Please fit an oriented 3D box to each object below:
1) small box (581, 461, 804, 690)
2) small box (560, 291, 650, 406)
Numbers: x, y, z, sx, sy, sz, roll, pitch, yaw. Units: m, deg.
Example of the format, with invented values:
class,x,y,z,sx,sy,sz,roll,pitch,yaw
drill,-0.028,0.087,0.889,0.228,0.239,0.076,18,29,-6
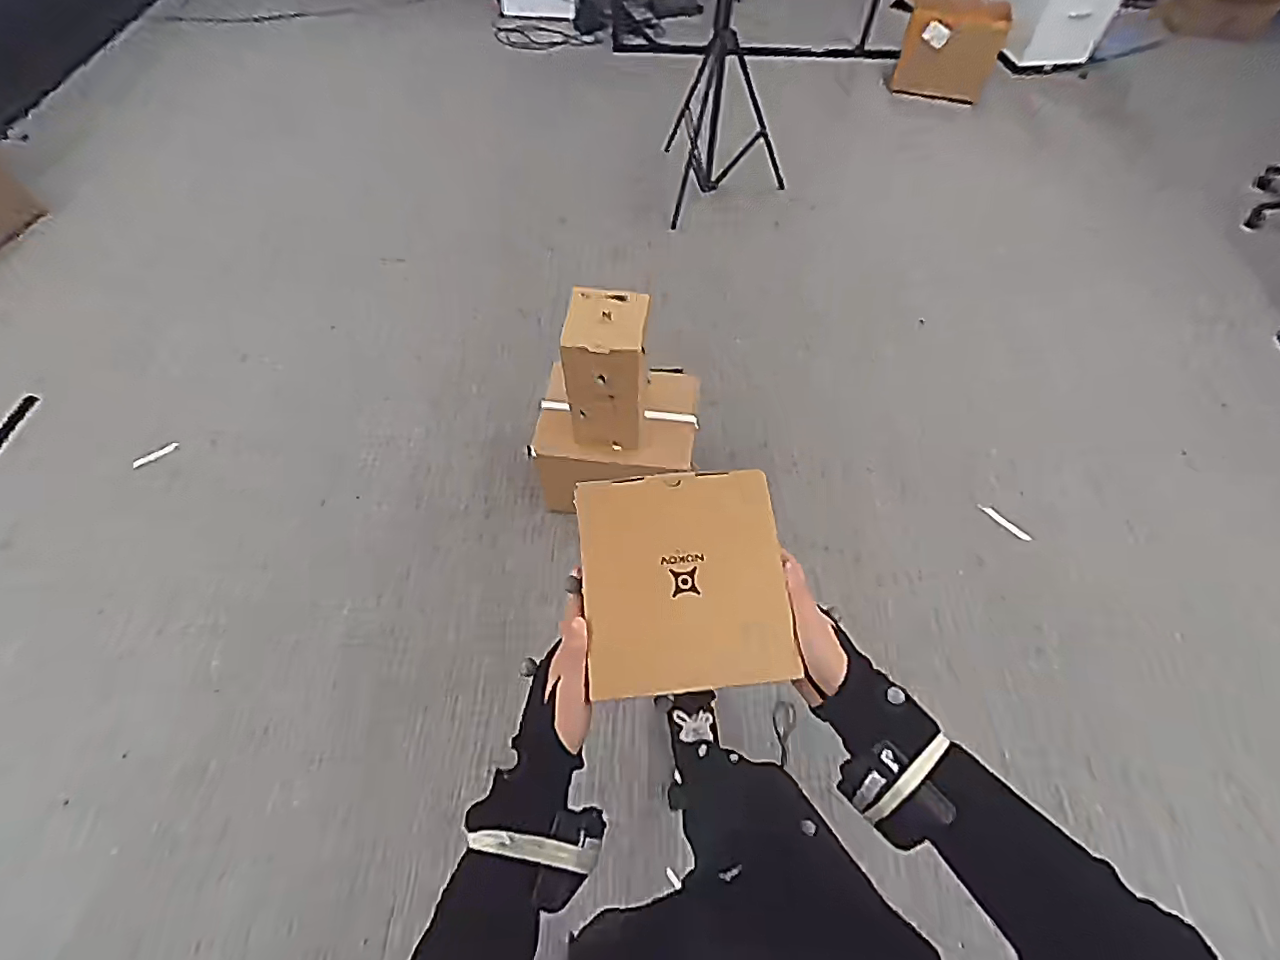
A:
class,x,y,z,sx,sy,sz,roll,pitch,yaw
small box,0.035,0.098,0.511,0.168,0.176,0.179,-4,68,-5
small box,-0.068,-0.283,1.185,0.168,0.176,0.179,7,60,3
